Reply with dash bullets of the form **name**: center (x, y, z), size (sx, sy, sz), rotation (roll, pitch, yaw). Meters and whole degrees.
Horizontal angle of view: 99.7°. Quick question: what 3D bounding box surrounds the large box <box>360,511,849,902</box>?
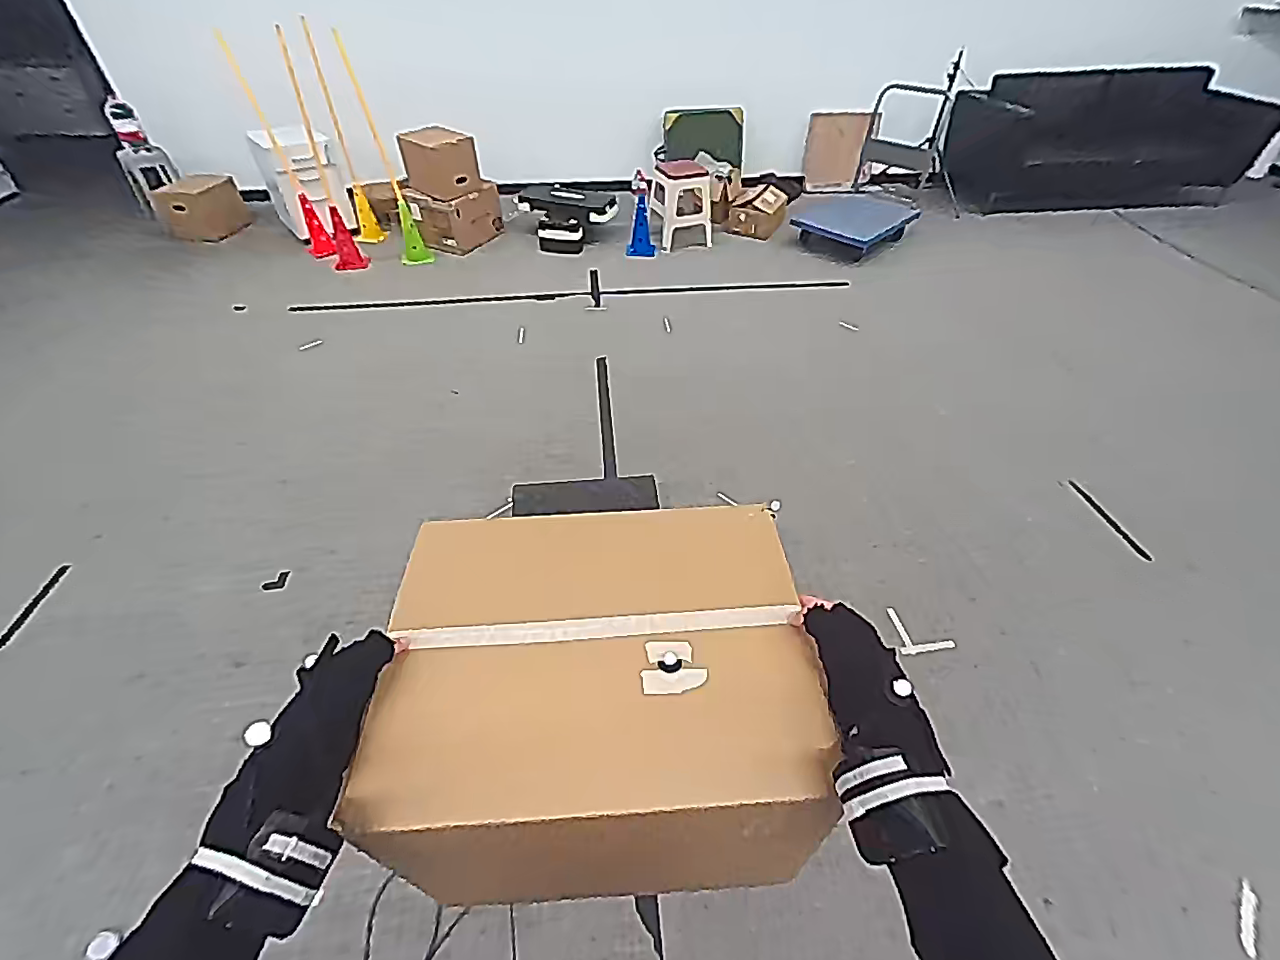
- **large box**: center (-0.034, 0.262, 0.639), size (0.408, 0.320, 0.320), rotation (-3, 43, -2)
